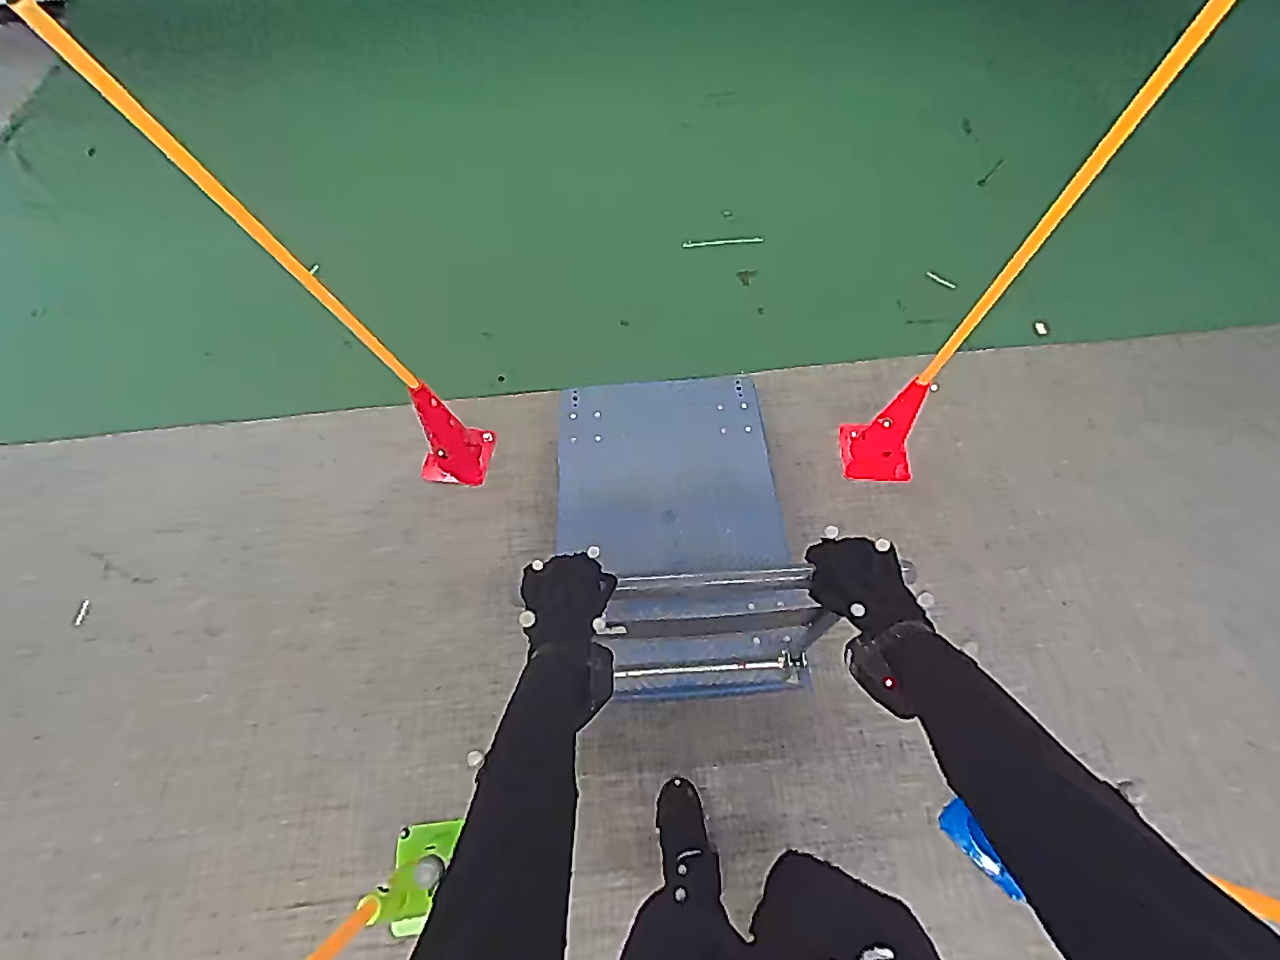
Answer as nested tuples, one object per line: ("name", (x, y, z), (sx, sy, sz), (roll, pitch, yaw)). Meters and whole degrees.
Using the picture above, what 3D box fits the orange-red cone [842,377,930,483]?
("orange-red cone", (0.717, -0.161, 1.508), (0.198, 0.360, 0.199), (4, 63, 5))
